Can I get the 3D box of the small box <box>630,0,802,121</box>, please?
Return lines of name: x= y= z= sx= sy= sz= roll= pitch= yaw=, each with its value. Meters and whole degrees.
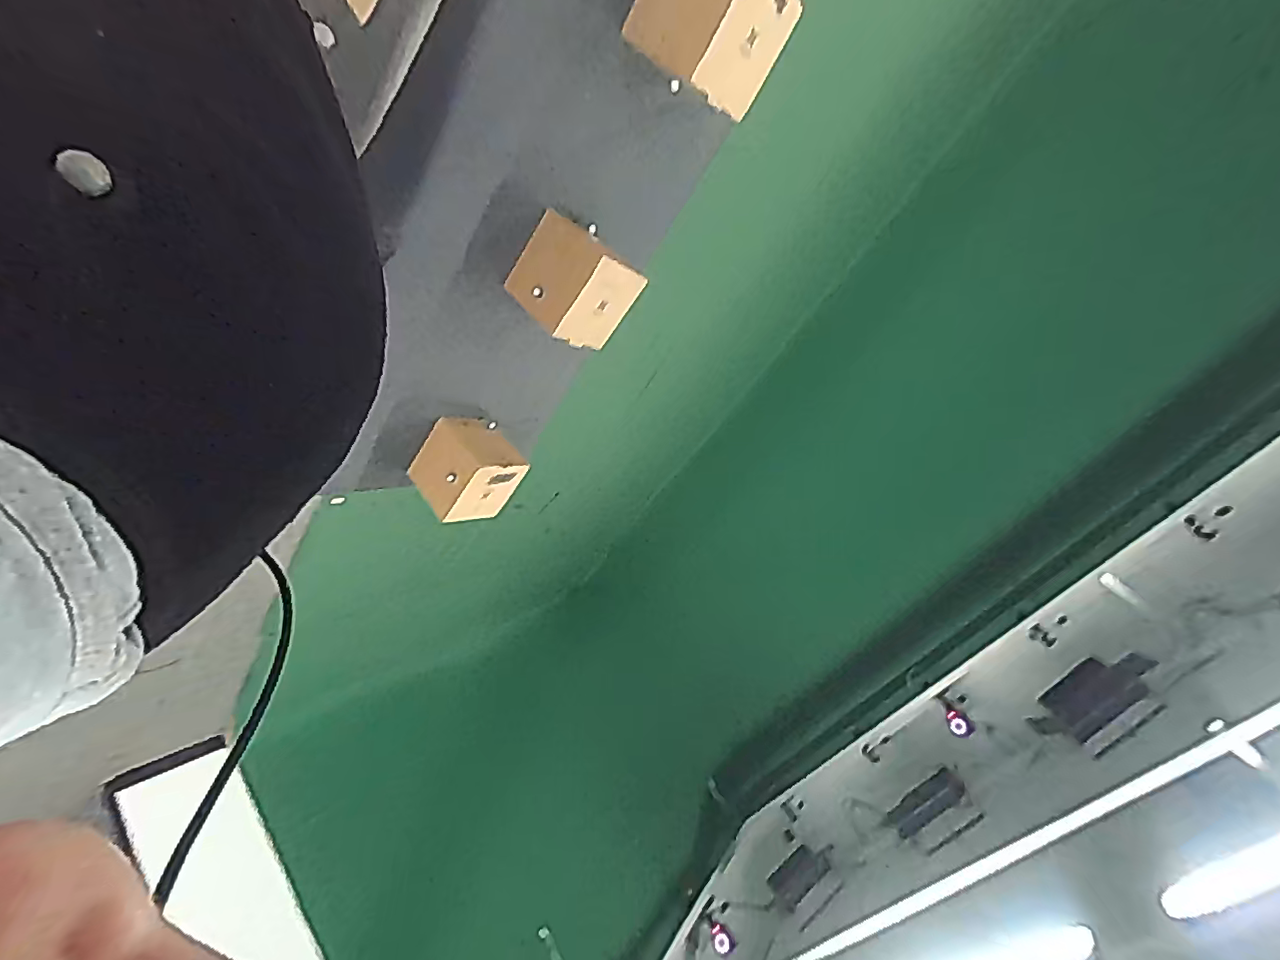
small box: x=0.110 y=-0.716 z=0.839 sx=0.168 sy=0.176 sz=0.179 roll=-15 pitch=147 yaw=-53

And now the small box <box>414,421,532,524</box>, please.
small box: x=-0.397 y=-0.022 z=1.273 sx=0.179 sy=0.176 sz=0.168 roll=-51 pitch=158 yaw=21

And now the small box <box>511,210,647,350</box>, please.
small box: x=-0.125 y=-0.388 z=1.064 sx=0.179 sy=0.176 sz=0.168 roll=-53 pitch=159 yaw=22
